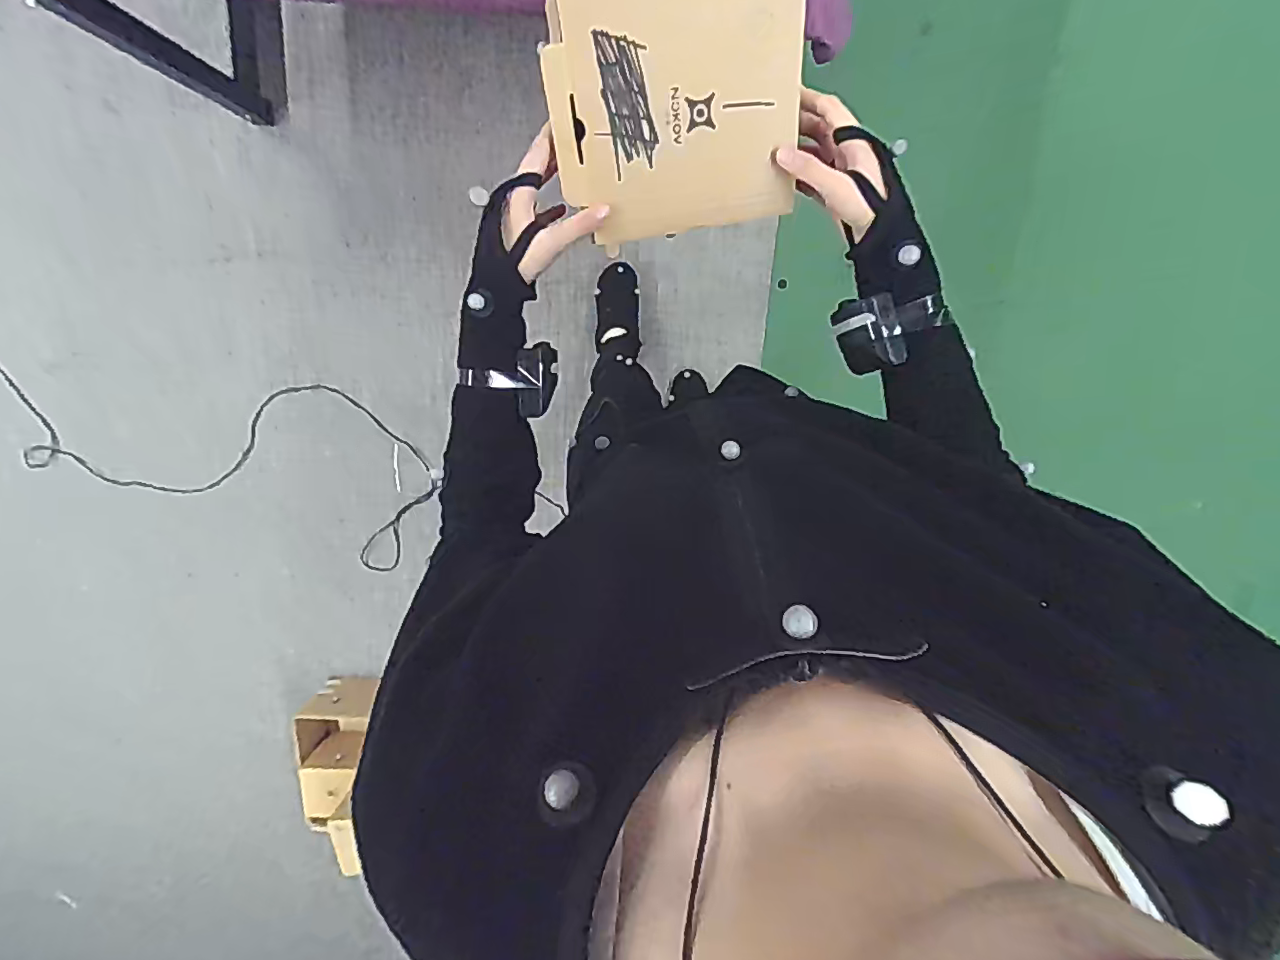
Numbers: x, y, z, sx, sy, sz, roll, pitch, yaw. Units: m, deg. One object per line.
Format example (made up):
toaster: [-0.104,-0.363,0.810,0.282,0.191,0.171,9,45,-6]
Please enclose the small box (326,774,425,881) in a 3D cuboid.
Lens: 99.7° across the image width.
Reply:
small box: [-0.702,0.931,1.456,0.168,0.176,0.179,-7,102,3]
